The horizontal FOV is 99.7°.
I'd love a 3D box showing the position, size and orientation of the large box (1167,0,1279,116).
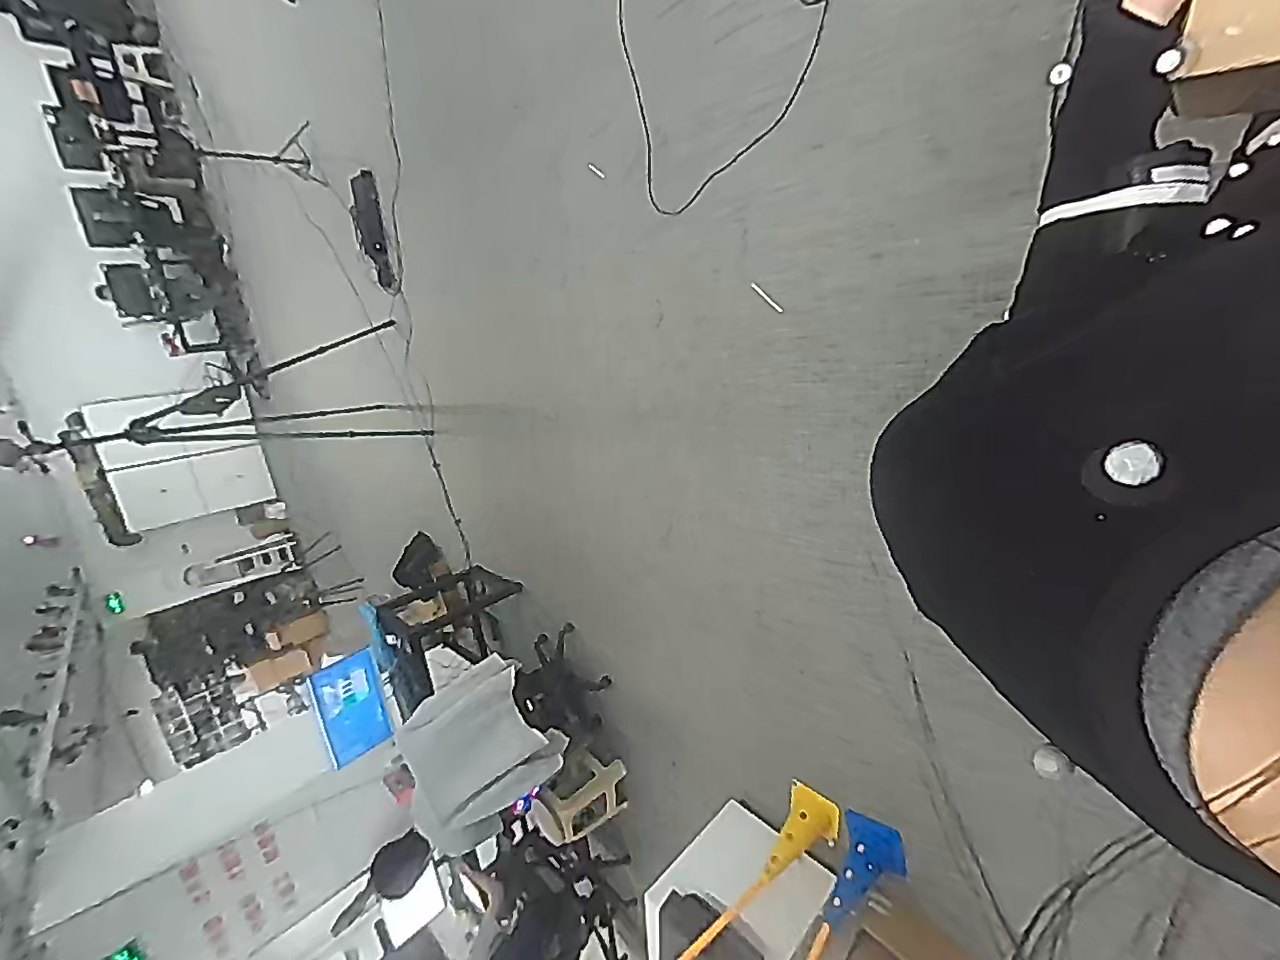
[{"bbox_3d":[0.589,-0.421,0.275,0.408,0.320,0.320,16,120,41],"label":"large box"}]
